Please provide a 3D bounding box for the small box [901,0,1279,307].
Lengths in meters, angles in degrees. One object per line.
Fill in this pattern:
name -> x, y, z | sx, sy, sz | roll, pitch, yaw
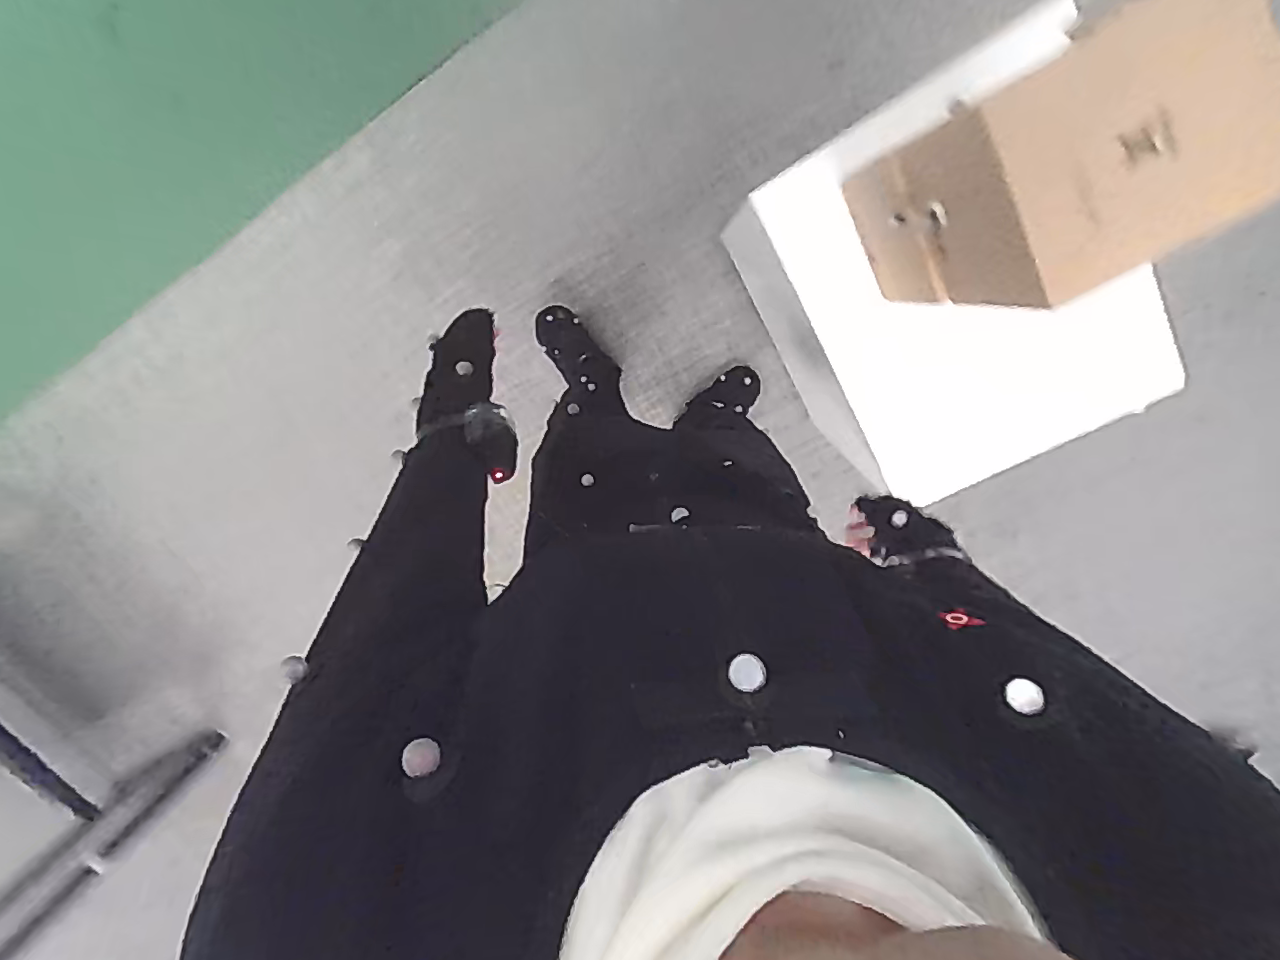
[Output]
small box -> 0.351, -0.261, 0.440 | 0.179, 0.176, 0.168 | -27, 105, 14

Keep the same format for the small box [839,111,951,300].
small box -> 0.355, -0.321, 0.609 | 0.179, 0.176, 0.168 | -25, 106, 11
